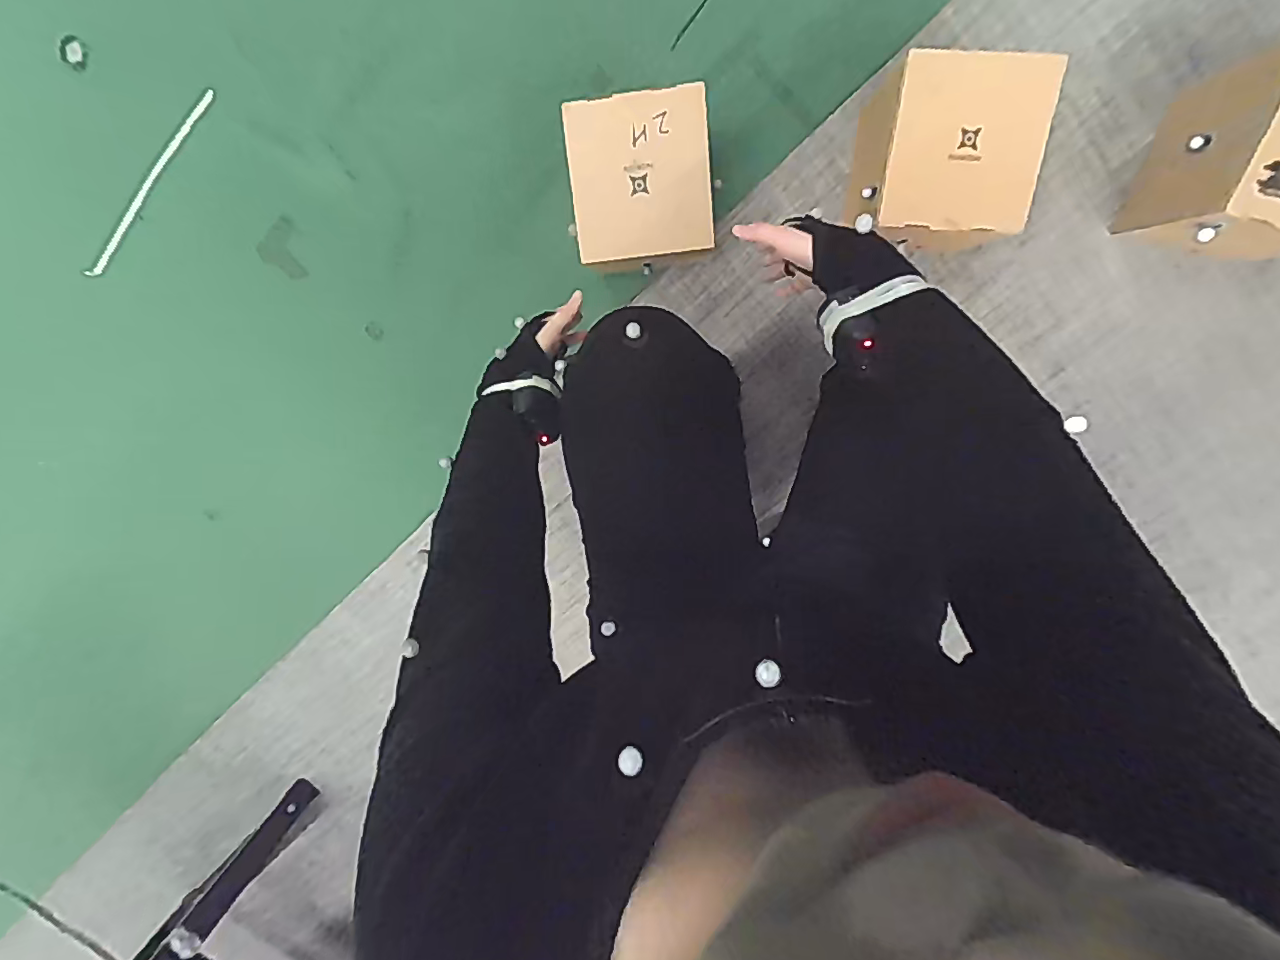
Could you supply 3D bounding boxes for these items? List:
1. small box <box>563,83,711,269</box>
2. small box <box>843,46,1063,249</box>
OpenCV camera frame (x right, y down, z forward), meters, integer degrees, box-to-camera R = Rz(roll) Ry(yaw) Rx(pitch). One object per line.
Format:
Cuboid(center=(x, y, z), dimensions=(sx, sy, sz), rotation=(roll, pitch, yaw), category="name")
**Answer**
Cuboid(center=(0.006, -0.379, 0.710), dimensions=(0.168, 0.176, 0.179), rotation=(-4, 106, 5), category="small box")
Cuboid(center=(0.367, -0.397, 0.674), dimensions=(0.168, 0.176, 0.179), rotation=(5, 107, 4), category="small box")
